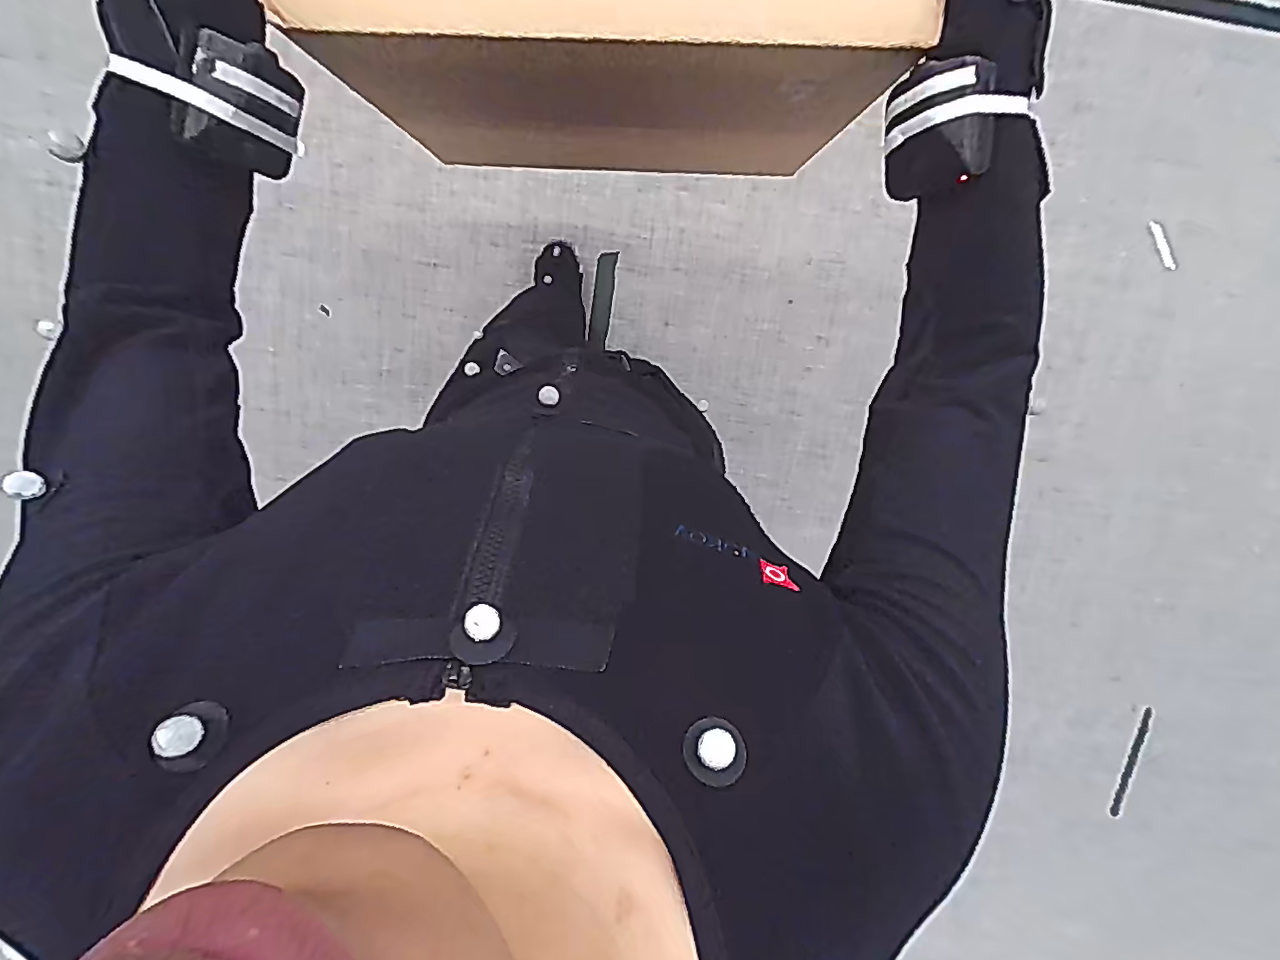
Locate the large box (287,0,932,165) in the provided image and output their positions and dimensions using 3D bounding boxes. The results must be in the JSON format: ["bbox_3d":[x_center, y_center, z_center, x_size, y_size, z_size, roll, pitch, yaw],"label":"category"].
[{"bbox_3d":[-0.020,-0.468,0.435,0.408,0.320,0.320,1,107,-1],"label":"large box"}]
